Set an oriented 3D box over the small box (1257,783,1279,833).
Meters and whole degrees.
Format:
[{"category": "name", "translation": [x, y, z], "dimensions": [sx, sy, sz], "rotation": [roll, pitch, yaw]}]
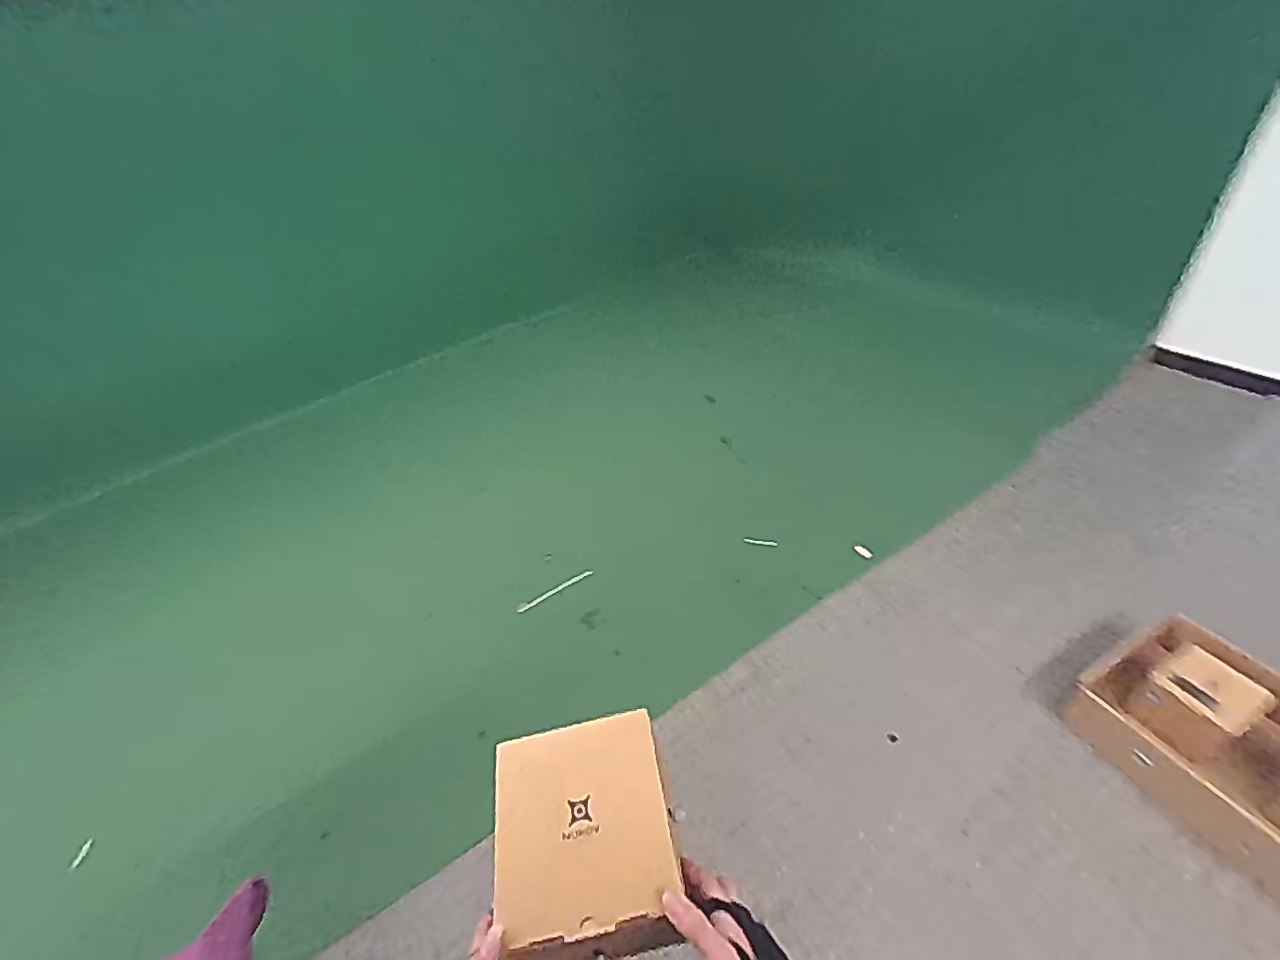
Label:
[{"category": "small box", "translation": [1.486, 0.699, 1.139], "dimensions": [0.179, 0.176, 0.168], "rotation": [-25, 41, -15]}]
